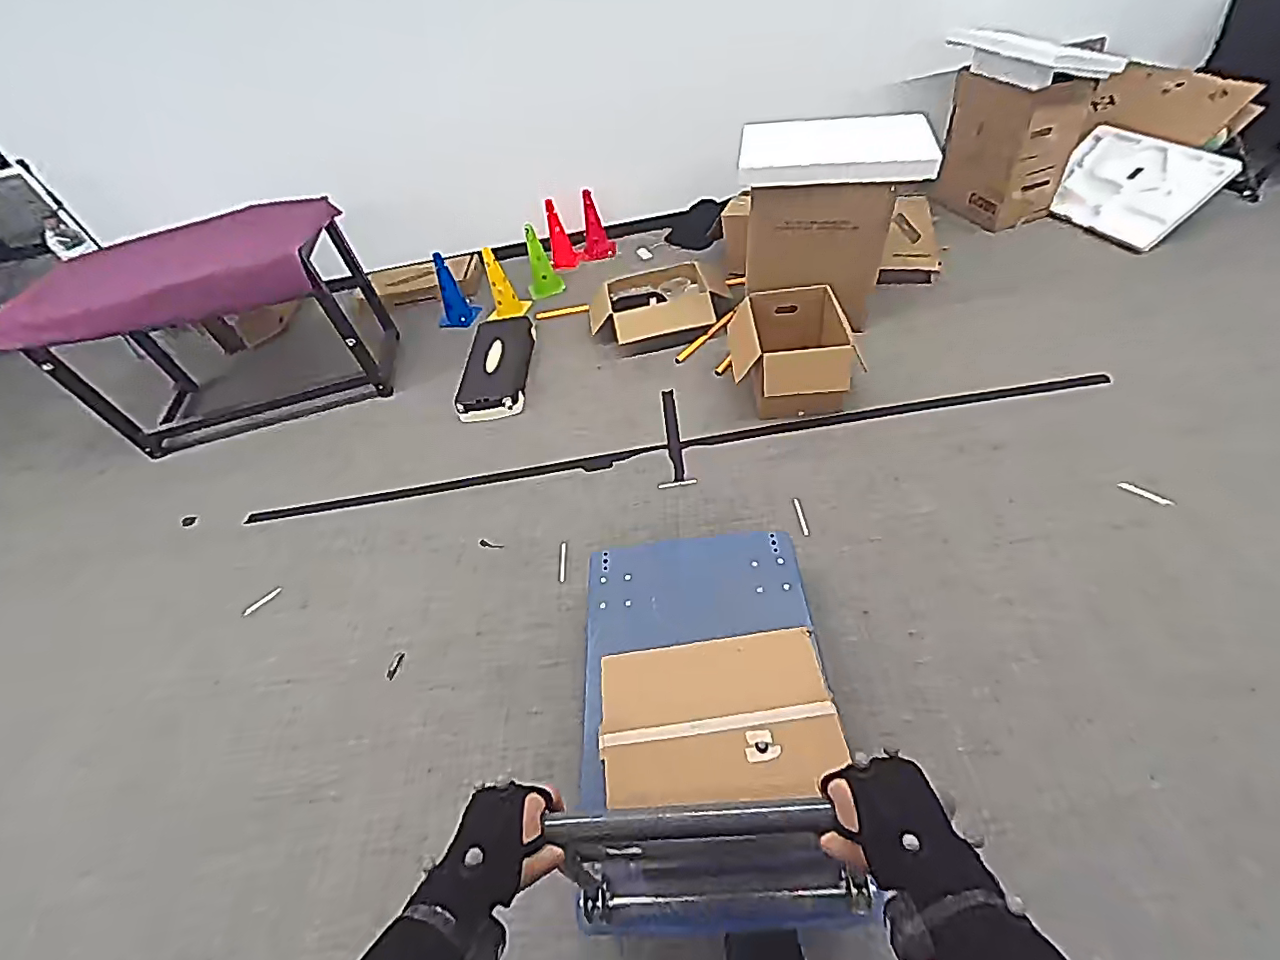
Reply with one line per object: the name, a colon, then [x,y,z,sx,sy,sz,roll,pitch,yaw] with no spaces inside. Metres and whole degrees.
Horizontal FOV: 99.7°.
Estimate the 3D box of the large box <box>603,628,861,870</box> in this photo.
large box: [0.157,0.532,1.062,0.408,0.320,0.320,-9,48,2]
